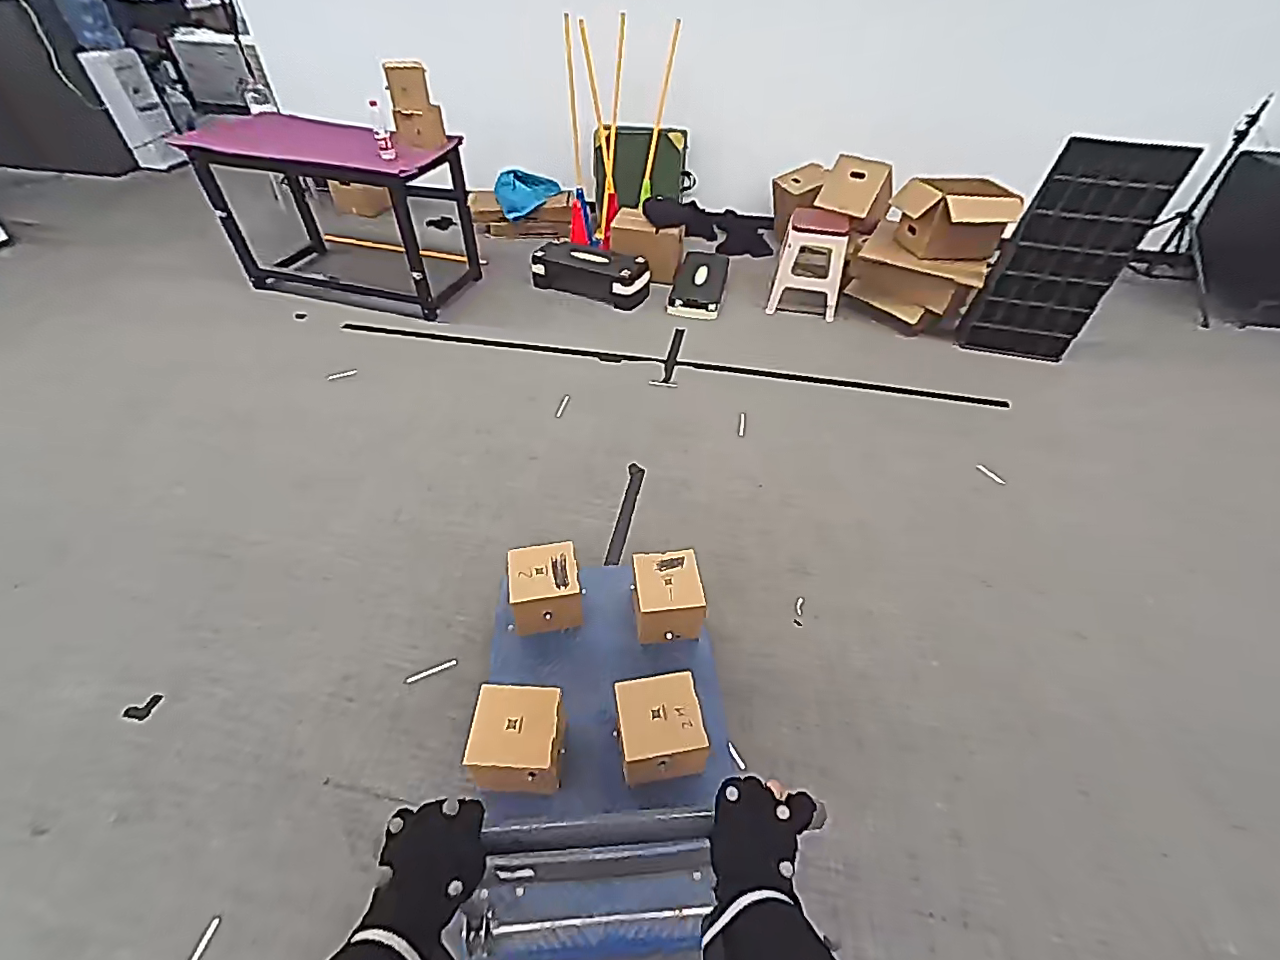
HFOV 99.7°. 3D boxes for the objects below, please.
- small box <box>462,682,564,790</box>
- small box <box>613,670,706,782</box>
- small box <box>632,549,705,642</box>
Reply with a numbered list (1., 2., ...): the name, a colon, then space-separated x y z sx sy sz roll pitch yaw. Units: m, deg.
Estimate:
1. small box: -0.266 0.558 1.176 0.179 0.176 0.168 3 45 -1
2. small box: 0.037 0.546 1.195 0.179 0.176 0.168 -6 46 -7
3. small box: 0.069 0.305 1.433 0.168 0.176 0.179 -4 47 -6
